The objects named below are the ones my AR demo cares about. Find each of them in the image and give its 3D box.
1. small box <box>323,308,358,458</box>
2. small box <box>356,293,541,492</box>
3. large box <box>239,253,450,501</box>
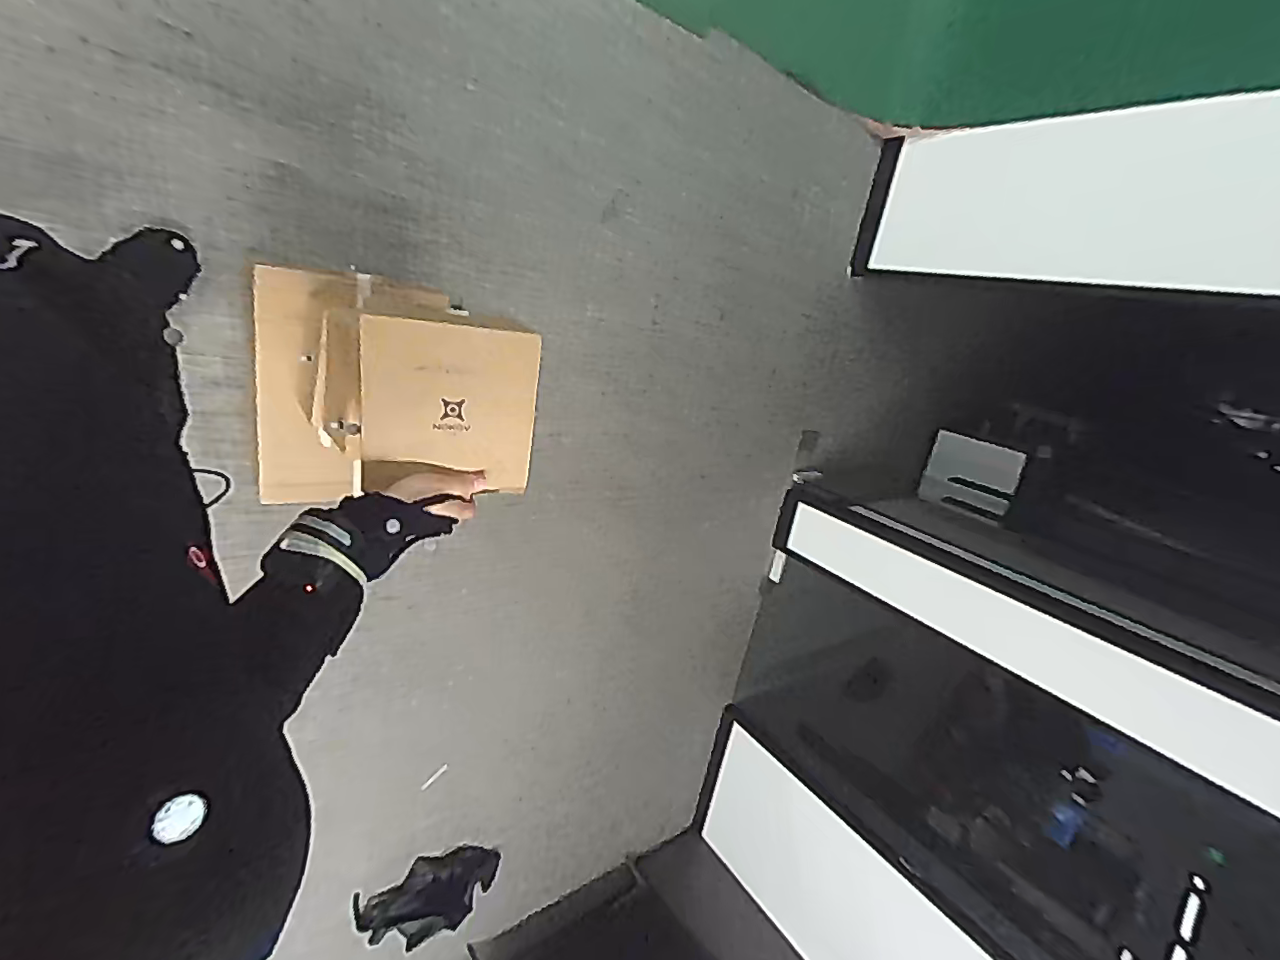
[{"bbox_3d":[-0.344,-0.138,0.771,0.168,0.176,0.179,-2,112,-39],"label":"small box"},{"bbox_3d":[-0.216,-0.099,0.598,0.168,0.176,0.179,0,113,-25],"label":"small box"},{"bbox_3d":[-0.599,-0.211,1.089,0.320,0.320,0.408,-3,114,-38],"label":"large box"}]
